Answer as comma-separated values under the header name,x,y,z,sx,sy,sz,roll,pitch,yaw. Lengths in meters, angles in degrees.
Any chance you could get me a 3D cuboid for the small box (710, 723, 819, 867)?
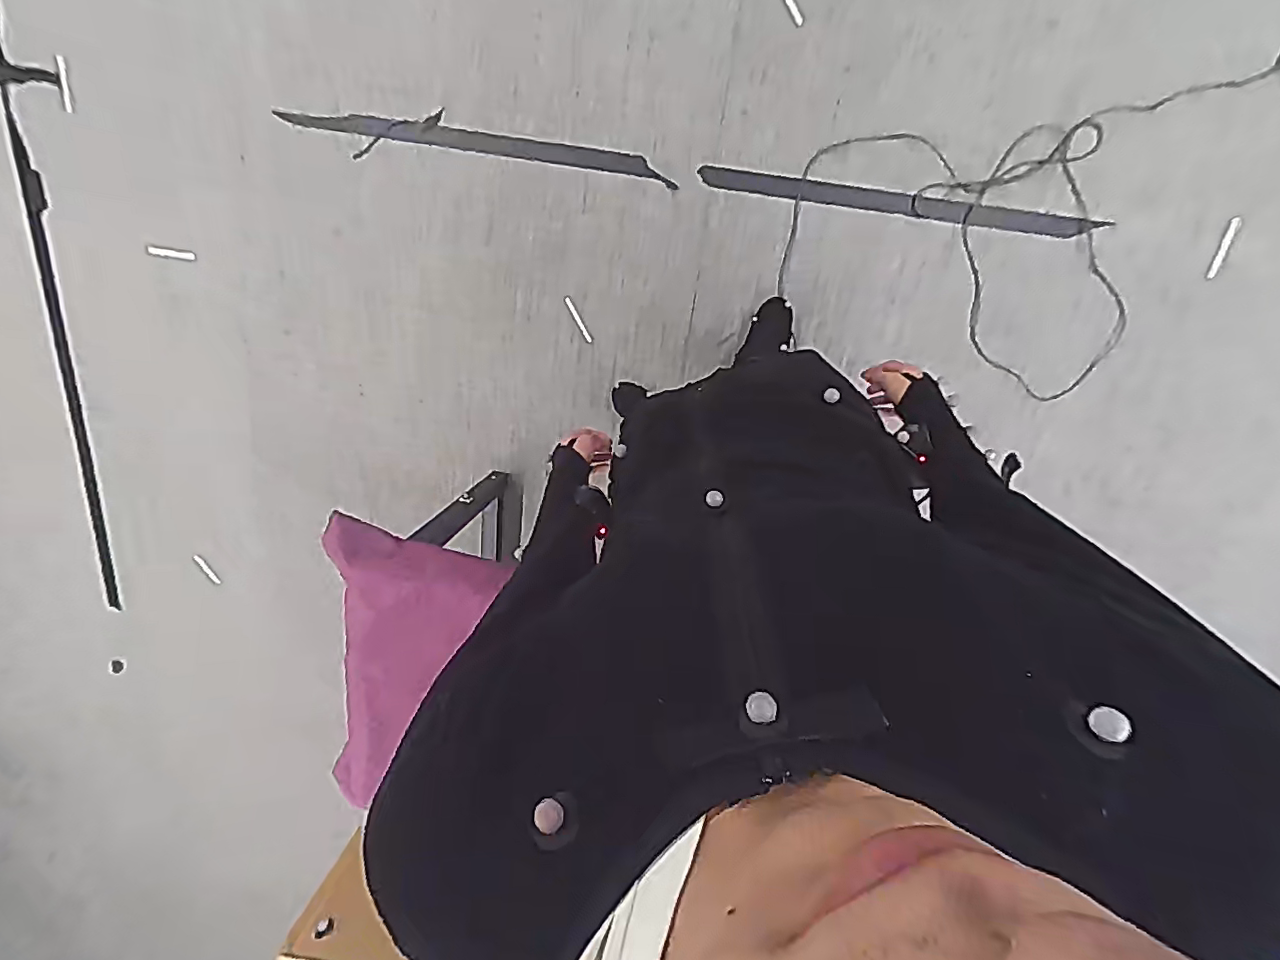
name,x,y,z,sx,sy,sz,roll,pitch,yaw
small box,0.218,0.560,0.964,0.179,0.176,0.168,2,108,7
